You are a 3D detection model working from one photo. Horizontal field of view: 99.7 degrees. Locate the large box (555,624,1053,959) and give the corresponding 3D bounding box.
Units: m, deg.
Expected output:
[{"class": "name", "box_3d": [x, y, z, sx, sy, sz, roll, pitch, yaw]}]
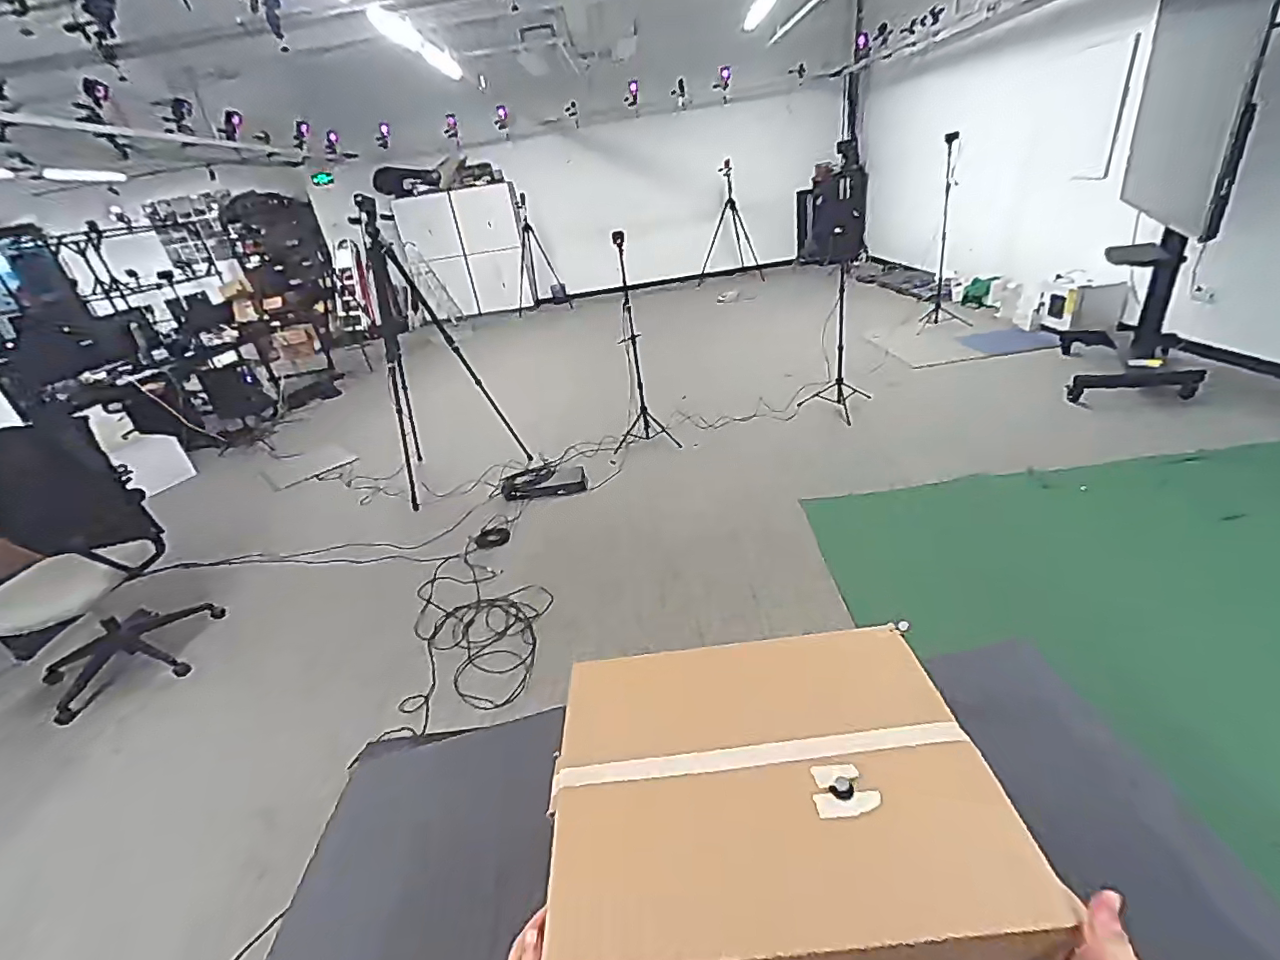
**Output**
[{"class": "large box", "box_3d": [0.139, 0.409, 0.621, 0.408, 0.320, 0.320, -8, 29, 2]}]
